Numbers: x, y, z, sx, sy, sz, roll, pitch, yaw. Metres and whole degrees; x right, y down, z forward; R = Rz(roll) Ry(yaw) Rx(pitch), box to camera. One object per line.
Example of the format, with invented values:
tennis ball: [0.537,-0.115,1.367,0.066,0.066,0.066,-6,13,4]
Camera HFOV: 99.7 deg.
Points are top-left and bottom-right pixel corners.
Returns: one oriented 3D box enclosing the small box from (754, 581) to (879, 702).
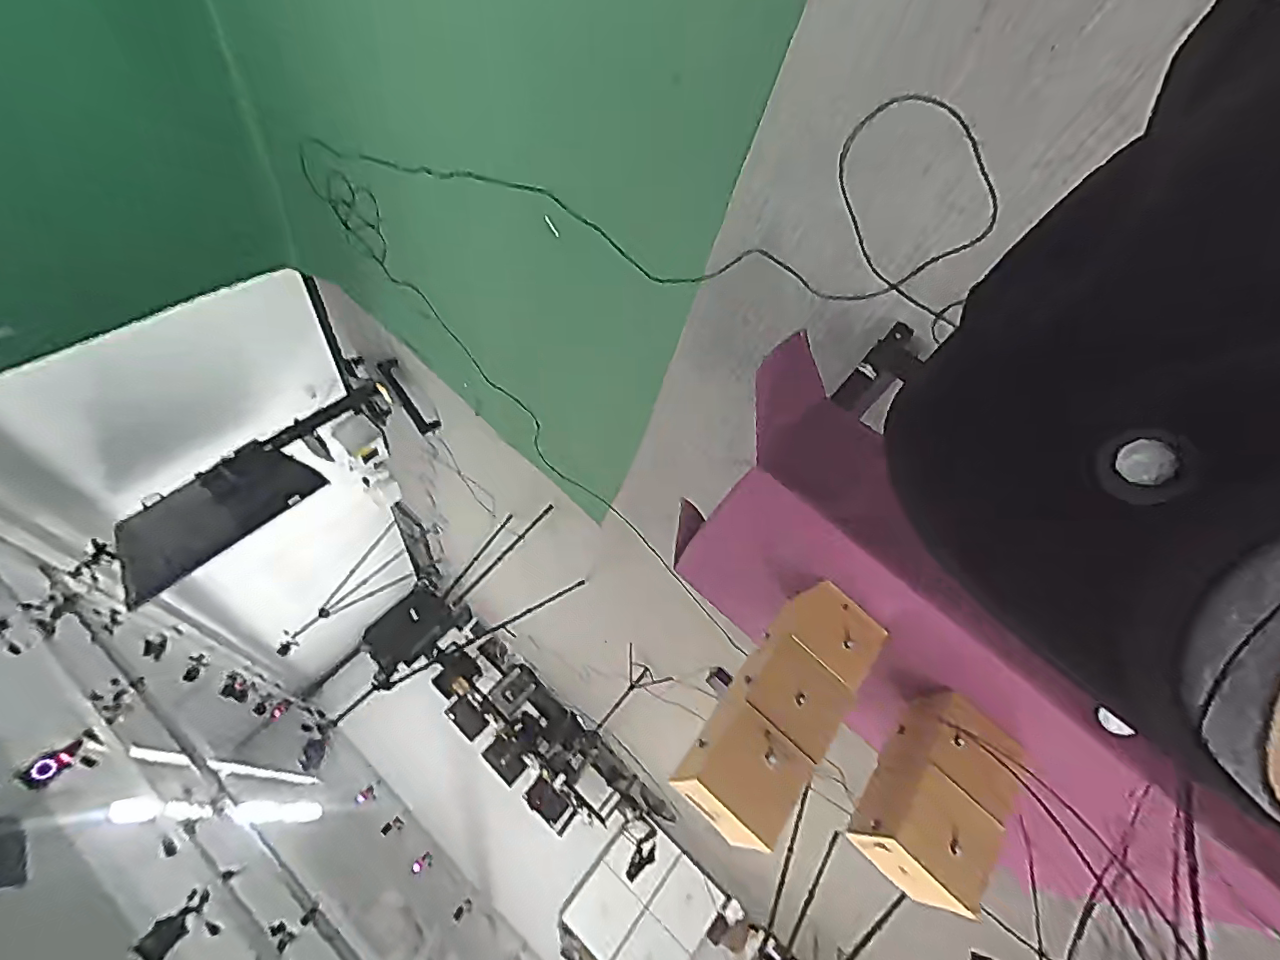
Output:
small box: [0.386,0.347,1.169,0.168,0.176,0.179,42,149,9]

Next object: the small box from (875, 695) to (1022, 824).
small box: [0.633,0.566,1.113,0.179,0.176,0.168,41,149,10]

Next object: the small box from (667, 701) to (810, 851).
small box: [0.181,0.537,0.996,0.168,0.176,0.179,41,148,9]

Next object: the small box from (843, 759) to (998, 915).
small box: [0.532,0.663,1.026,0.179,0.176,0.168,42,149,10]
